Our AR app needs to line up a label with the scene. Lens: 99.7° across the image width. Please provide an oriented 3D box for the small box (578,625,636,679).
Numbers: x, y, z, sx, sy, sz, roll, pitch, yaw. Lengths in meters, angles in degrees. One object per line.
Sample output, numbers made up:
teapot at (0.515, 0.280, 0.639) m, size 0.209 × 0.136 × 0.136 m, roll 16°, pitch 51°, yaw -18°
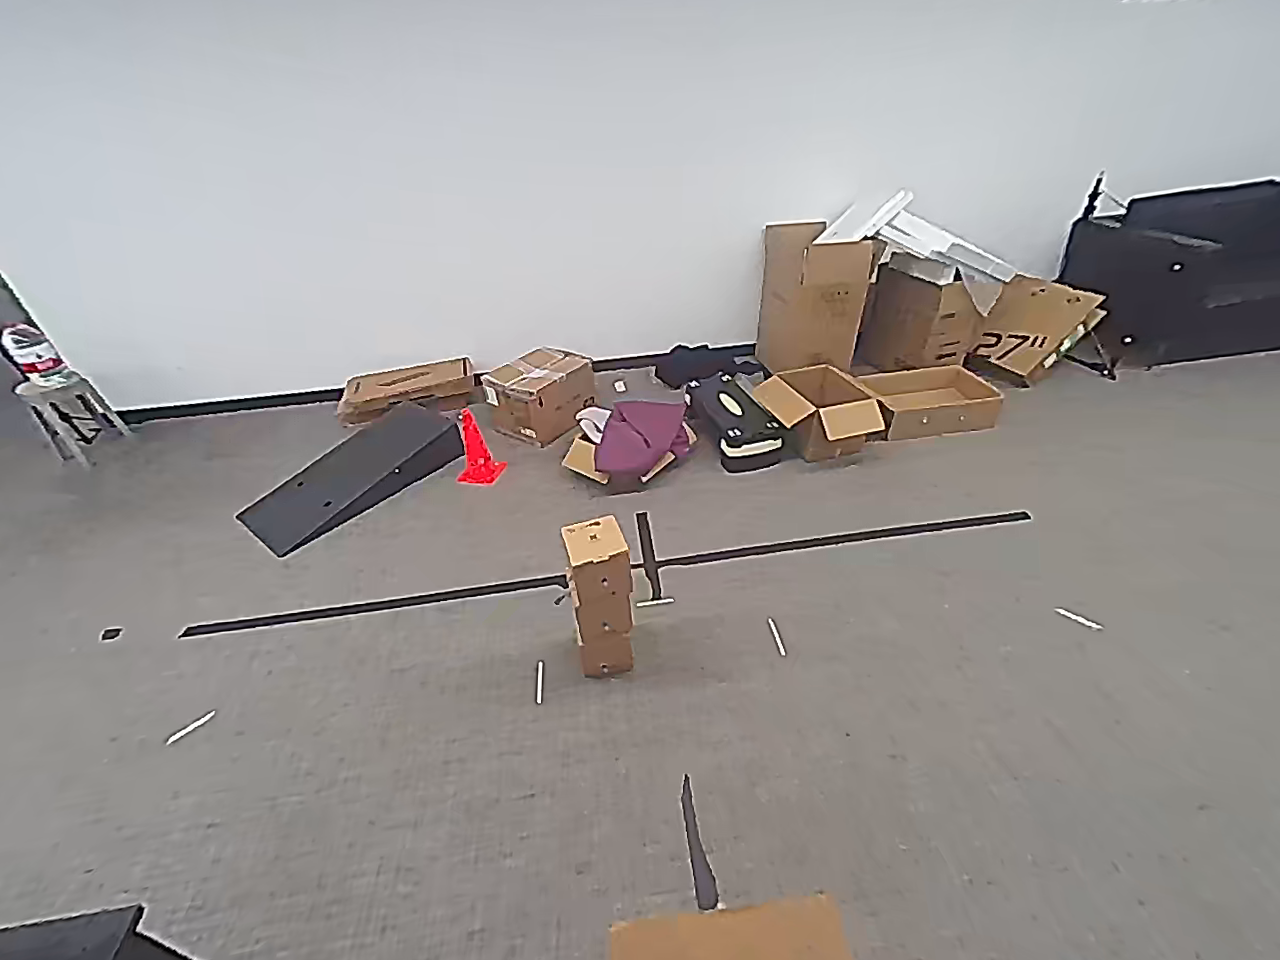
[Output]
small box at (-0.112, 0.521, 1.774) m, size 0.168 × 0.176 × 0.179 m, roll -10°, pitch 37°, yaw -6°

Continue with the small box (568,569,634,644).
small box at (-0.122, 0.379, 1.689) m, size 0.168 × 0.176 × 0.179 m, roll -13°, pitch 36°, yaw -9°

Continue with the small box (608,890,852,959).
small box at (0.074, 0.438, 0.405) m, size 0.179 × 0.176 × 0.168 m, roll -5°, pitch 42°, yaw -4°

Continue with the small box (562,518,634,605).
small box at (-0.122, 0.246, 1.593) m, size 0.168 × 0.176 × 0.179 m, roll -14°, pitch 36°, yaw -11°
